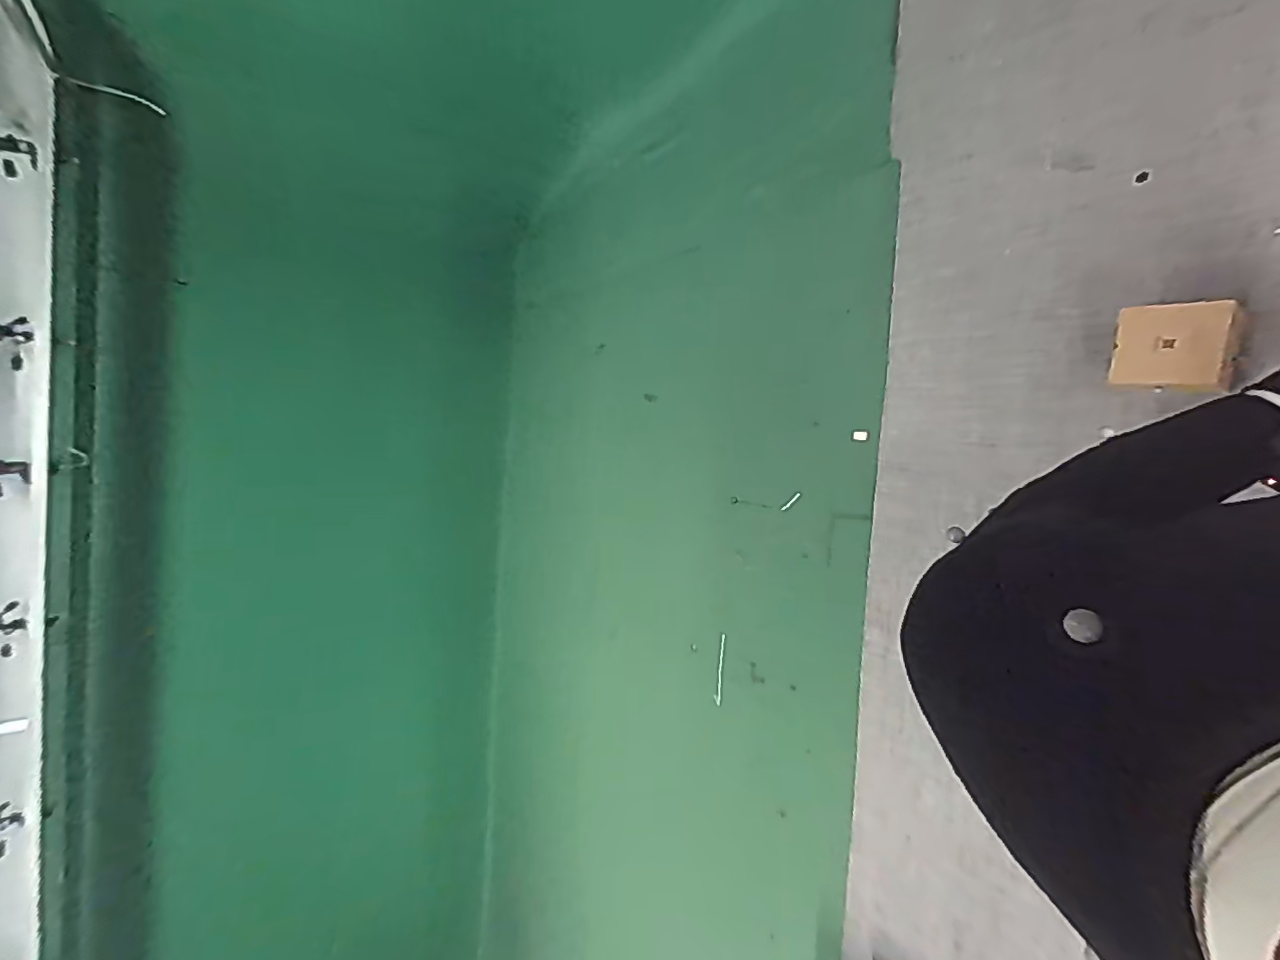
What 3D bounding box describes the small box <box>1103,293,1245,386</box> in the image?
[{"bbox_3d":[1.153,-0.295,1.169,0.179,0.176,0.168,15,102,53],"label":"small box"}]
